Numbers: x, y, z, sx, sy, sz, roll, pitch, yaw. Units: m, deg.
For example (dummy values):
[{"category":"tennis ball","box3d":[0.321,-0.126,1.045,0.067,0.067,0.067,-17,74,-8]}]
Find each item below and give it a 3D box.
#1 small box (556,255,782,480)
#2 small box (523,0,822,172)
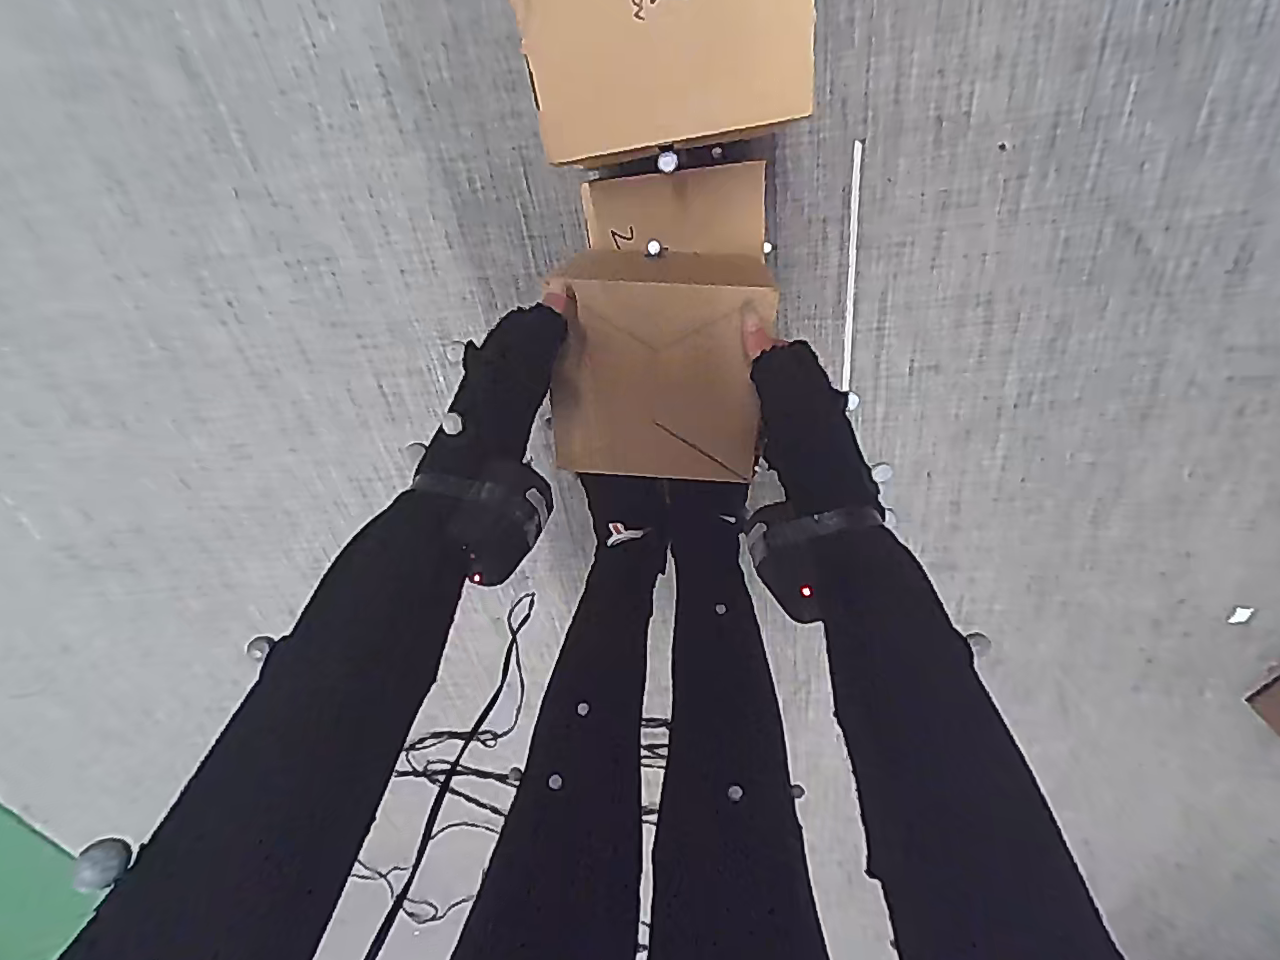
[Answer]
[{"category":"small box","box3d":[0.024,-0.112,0.506,0.179,0.176,0.168,4,120,4]},{"category":"small box","box3d":[0.023,-0.329,0.384,0.179,0.176,0.168,-5,120,9]}]
